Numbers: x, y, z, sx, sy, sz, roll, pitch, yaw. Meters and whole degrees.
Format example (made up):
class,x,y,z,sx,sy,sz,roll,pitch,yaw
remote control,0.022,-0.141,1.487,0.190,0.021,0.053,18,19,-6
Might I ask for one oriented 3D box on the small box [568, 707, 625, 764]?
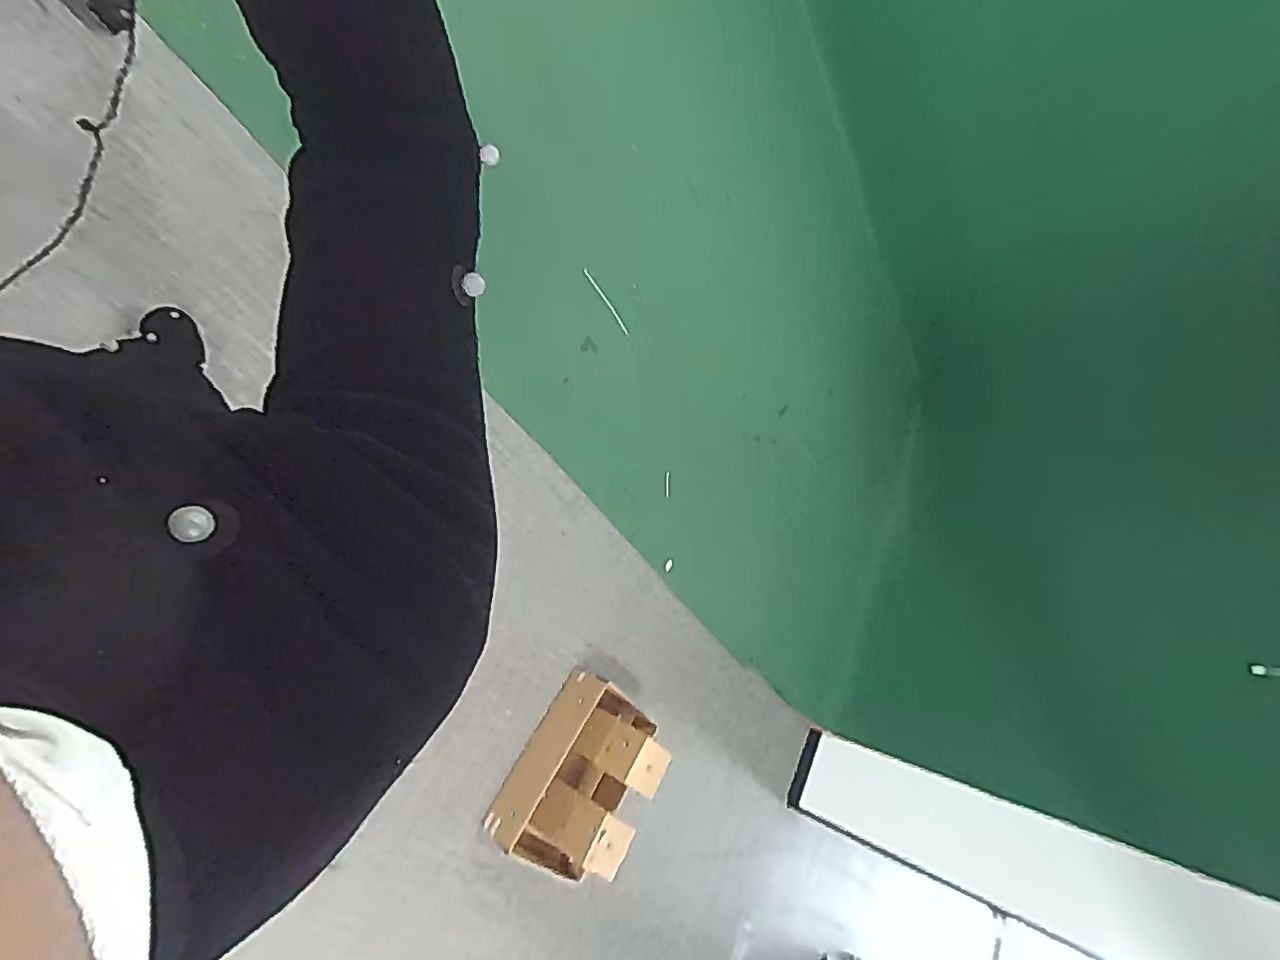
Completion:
class,x,y,z,sx,sy,sz,roll,pitch,yaw
small box,-0.142,0.988,2.050,0.179,0.176,0.168,52,58,-32

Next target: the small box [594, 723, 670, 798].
class,x,y,z,sx,sy,sz,roll,pitch,yaw
small box,-0.032,0.995,1.933,0.179,0.176,0.168,51,58,-33

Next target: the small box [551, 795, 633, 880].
class,x,y,z,sx,sy,sz,roll,pitch,yaw
small box,-0.161,1.192,1.812,0.179,0.176,0.168,52,56,-33
